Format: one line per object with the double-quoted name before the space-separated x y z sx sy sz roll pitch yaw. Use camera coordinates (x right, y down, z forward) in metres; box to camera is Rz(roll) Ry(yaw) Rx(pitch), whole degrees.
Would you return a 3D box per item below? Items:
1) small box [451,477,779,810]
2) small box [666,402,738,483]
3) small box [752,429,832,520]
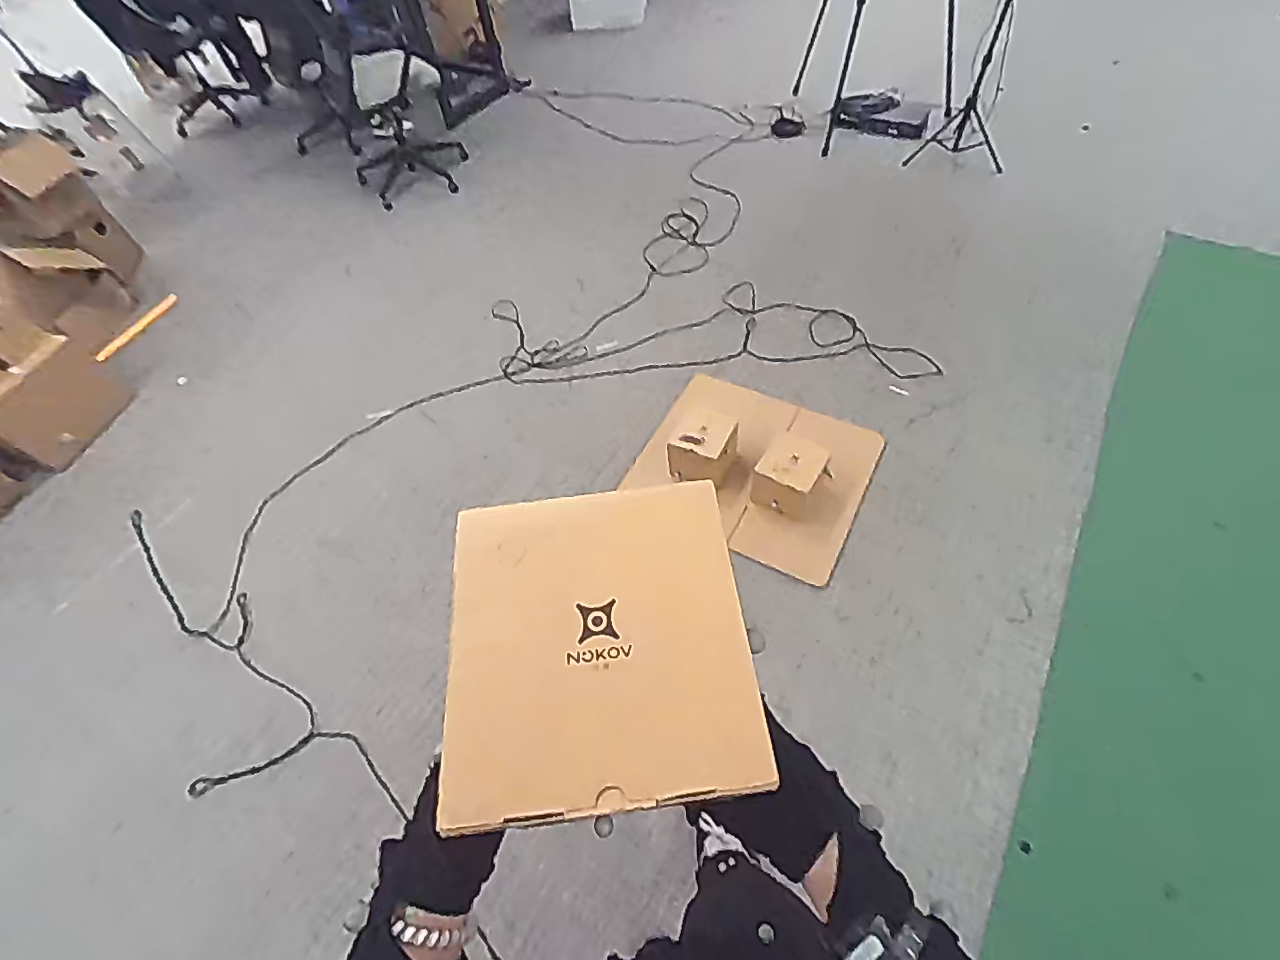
"small box" -0.019 0.120 0.376 0.168 0.176 0.179 -7 60 -2
"small box" 0.198 -0.109 1.704 0.168 0.176 0.179 22 60 20
"small box" 0.447 -0.015 1.617 0.168 0.176 0.179 27 63 23
